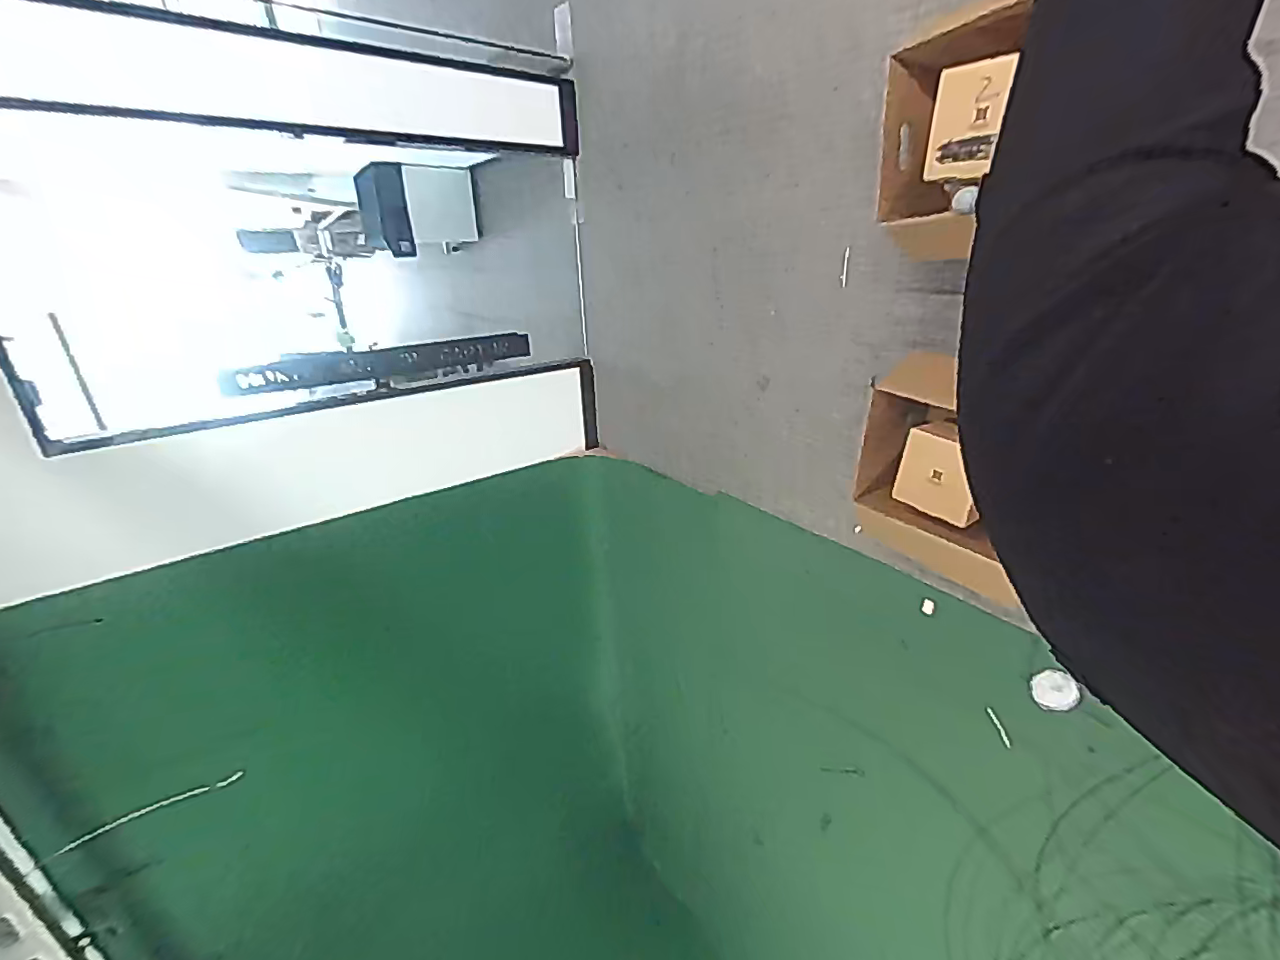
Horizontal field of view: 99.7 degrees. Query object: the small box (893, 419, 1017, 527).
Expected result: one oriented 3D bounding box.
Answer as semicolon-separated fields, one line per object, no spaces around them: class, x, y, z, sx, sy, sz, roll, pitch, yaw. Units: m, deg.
small box;0.702;-0.024;1.203;0.168;0.176;0.179;32;128;45
